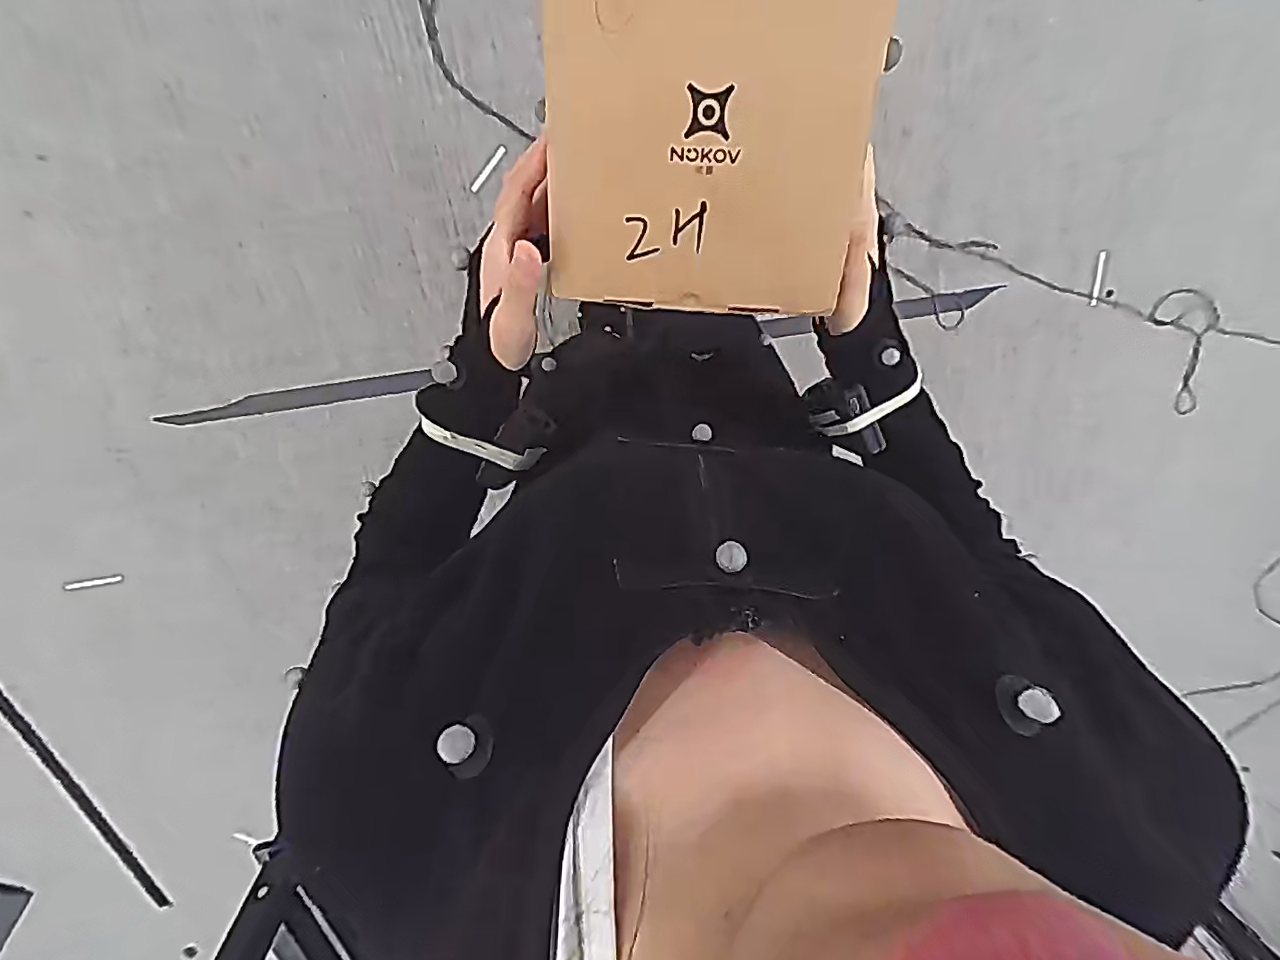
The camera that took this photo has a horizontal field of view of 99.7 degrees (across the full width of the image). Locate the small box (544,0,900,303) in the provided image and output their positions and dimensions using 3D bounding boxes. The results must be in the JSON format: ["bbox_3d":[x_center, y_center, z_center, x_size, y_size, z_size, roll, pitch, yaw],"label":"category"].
[{"bbox_3d":[0.039,-0.220,0.338,0.168,0.176,0.179,6,118,3],"label":"small box"}]
